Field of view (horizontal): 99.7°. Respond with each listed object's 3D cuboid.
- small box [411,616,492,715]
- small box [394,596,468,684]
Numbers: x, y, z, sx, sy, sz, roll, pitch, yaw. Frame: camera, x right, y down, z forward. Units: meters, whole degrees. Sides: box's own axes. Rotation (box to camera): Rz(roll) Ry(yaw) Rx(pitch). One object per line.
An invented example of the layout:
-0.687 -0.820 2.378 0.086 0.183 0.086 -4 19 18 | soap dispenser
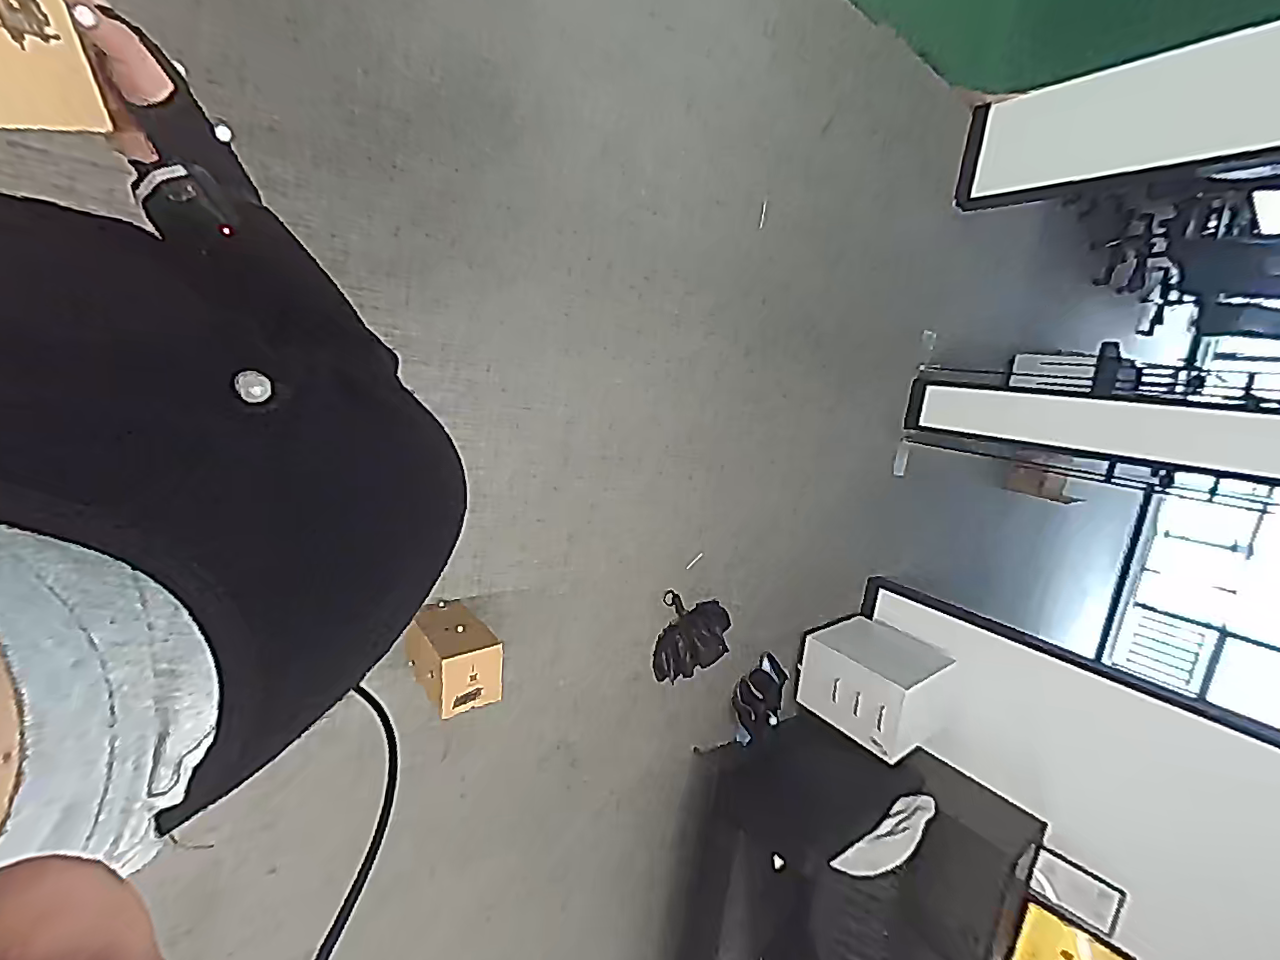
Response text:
-0.523 0.505 1.495 0.168 0.176 0.179 -6 107 -39 | small box
-0.627 0.473 1.618 0.168 0.176 0.179 -6 106 -39 | small box
